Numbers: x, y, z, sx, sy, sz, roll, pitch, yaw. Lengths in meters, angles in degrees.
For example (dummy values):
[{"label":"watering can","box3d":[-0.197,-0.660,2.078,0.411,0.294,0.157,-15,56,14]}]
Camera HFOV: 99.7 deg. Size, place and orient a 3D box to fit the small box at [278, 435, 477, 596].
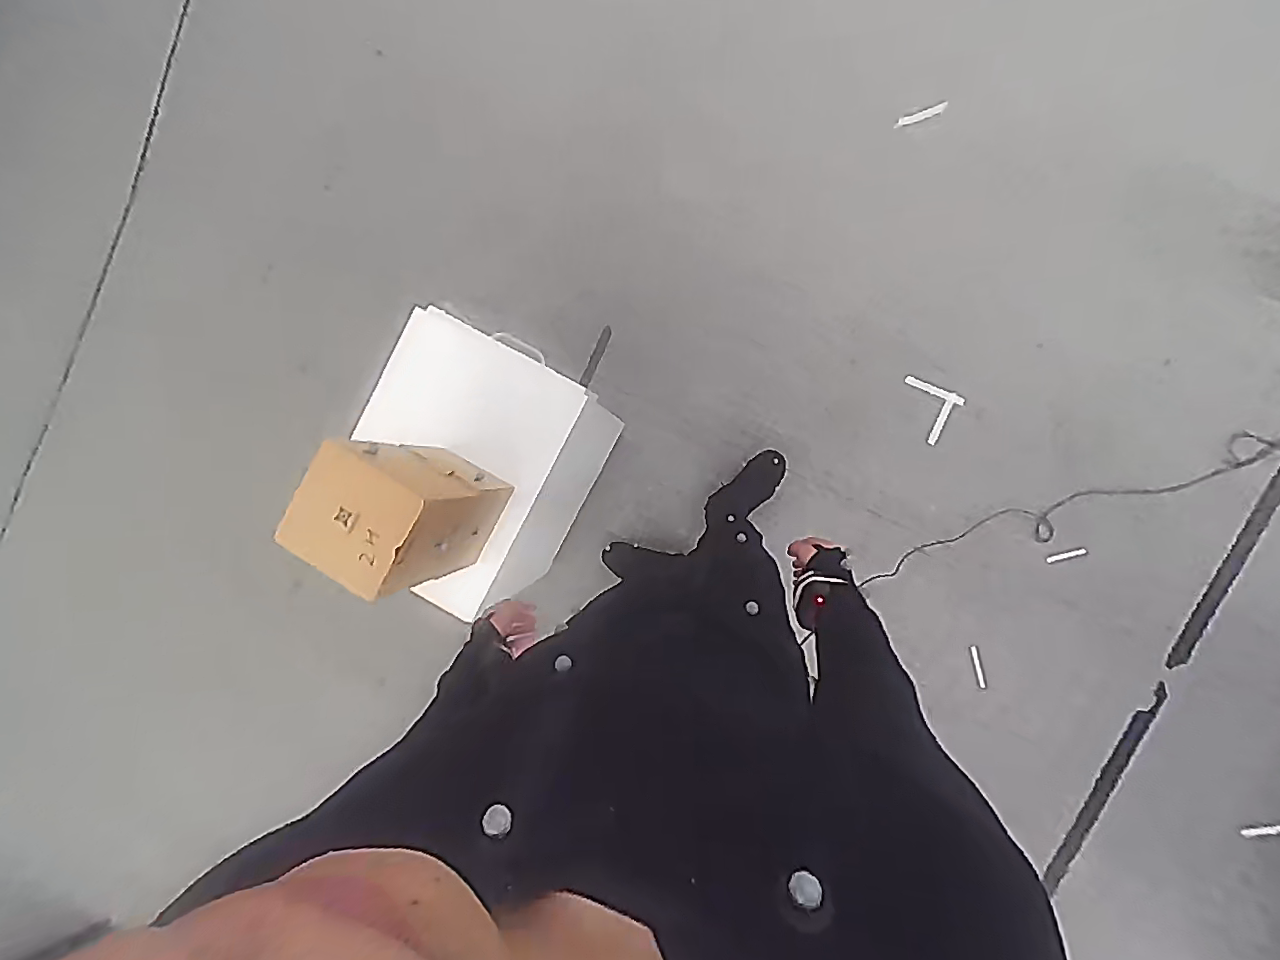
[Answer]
[{"label":"small box","box3d":[-0.385,0.049,0.822,0.179,0.176,0.168,30,95,5]}]
